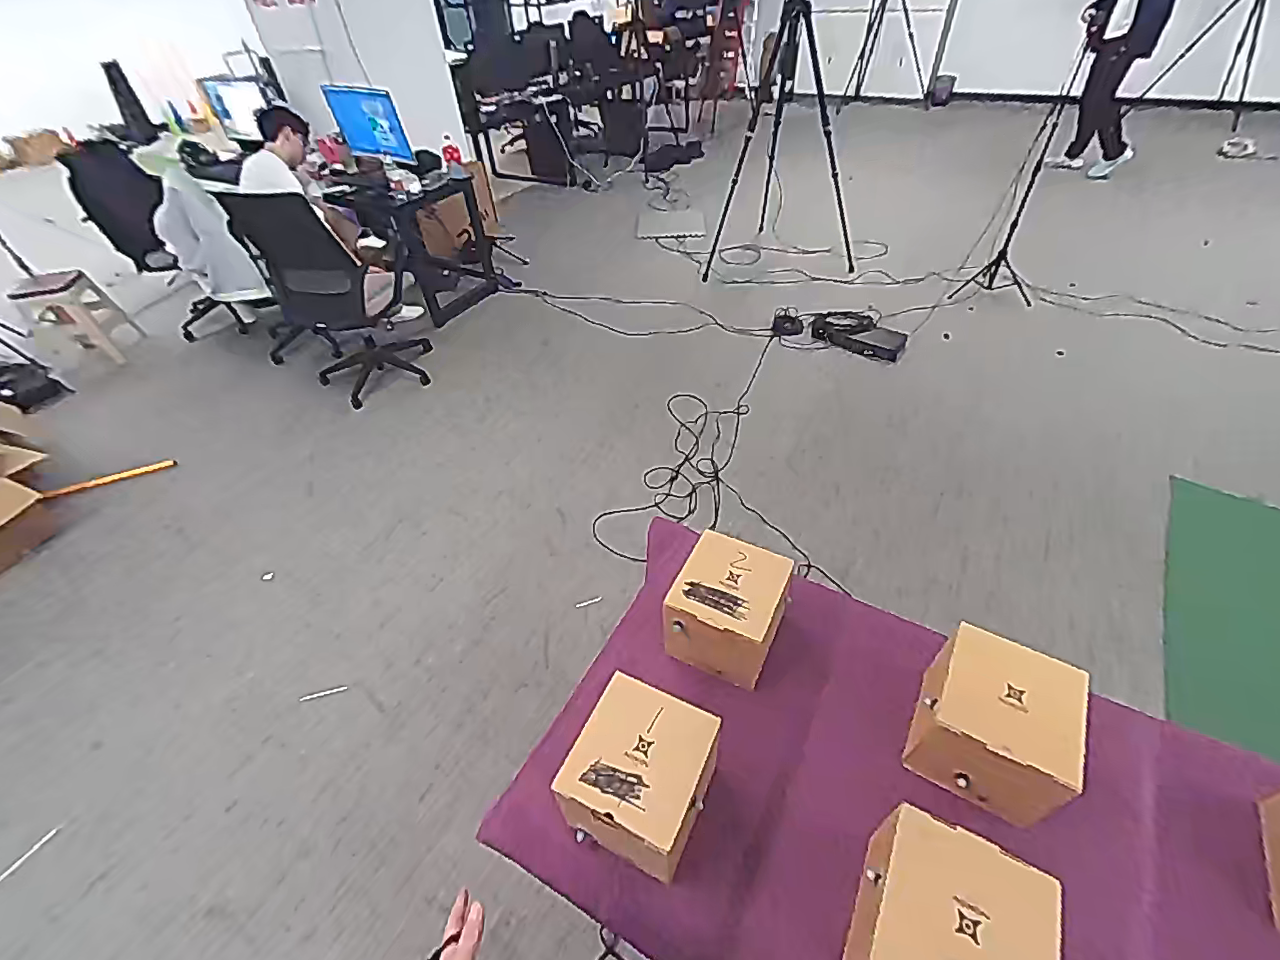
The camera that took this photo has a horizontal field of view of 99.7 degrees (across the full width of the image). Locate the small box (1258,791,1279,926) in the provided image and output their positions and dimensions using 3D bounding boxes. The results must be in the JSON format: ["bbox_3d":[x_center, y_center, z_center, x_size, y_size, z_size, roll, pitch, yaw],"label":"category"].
[{"bbox_3d":[0.885,0.470,0.627,0.168,0.176,0.179,21,51,26],"label":"small box"}]

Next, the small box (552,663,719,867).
[{"bbox_3d":[0.002,0.401,0.760,0.168,0.176,0.179,18,47,20],"label":"small box"}]

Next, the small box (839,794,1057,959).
[{"bbox_3d":[0.346,0.514,0.626,0.168,0.176,0.179,20,49,24],"label":"small box"}]

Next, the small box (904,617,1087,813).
[{"bbox_3d":[0.509,0.342,0.790,0.168,0.176,0.179,22,52,24],"label":"small box"}]
